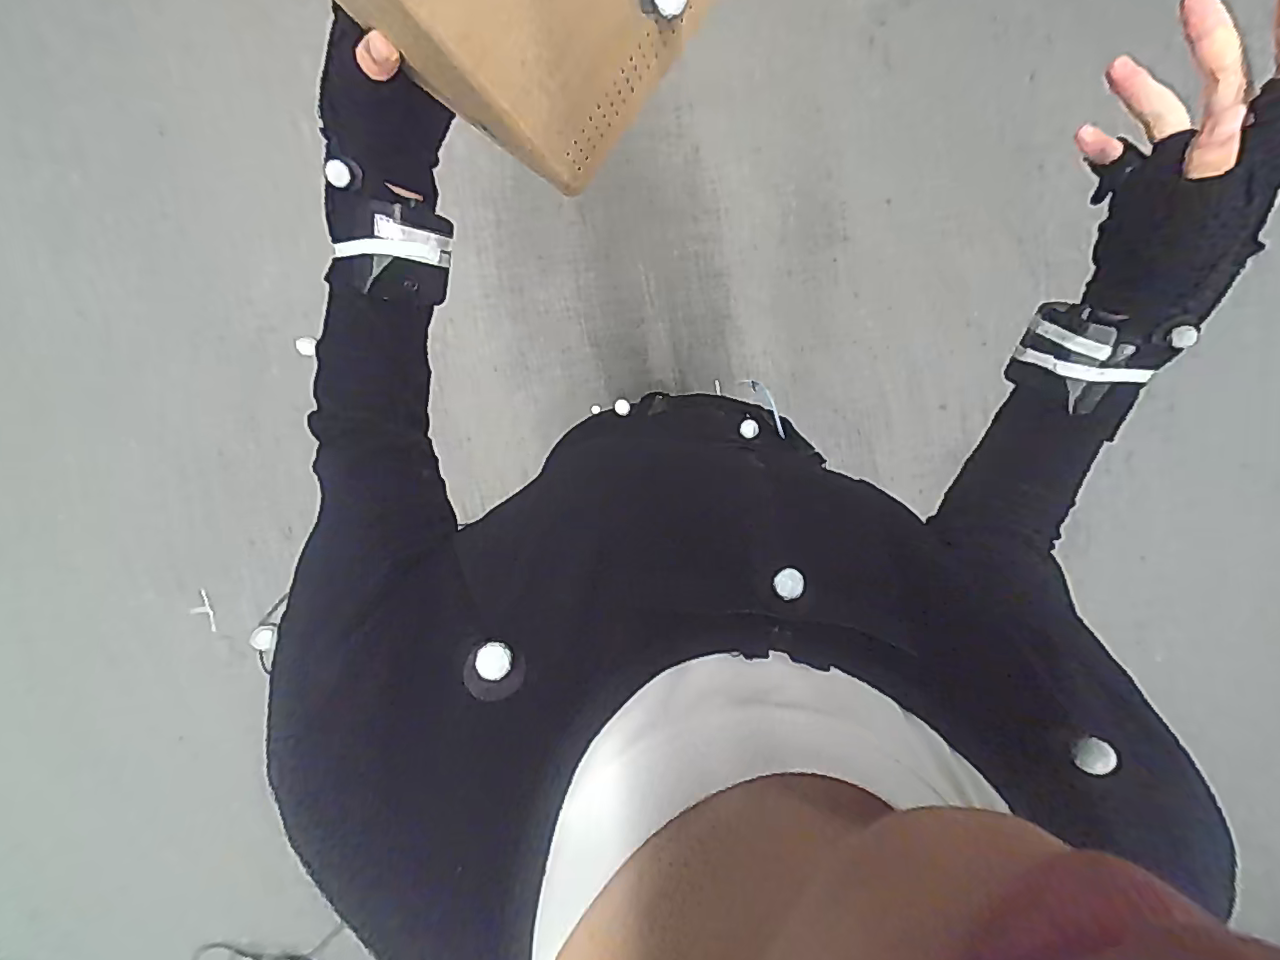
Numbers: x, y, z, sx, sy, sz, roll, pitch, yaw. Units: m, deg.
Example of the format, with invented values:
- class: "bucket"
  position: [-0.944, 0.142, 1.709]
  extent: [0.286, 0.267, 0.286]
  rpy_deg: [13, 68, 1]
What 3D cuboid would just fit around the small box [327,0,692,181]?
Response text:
- class: "small box"
  position: [-0.071, -0.271, 0.214]
  extent: [0.168, 0.176, 0.179]
  rpy_deg: [43, 102, 16]
